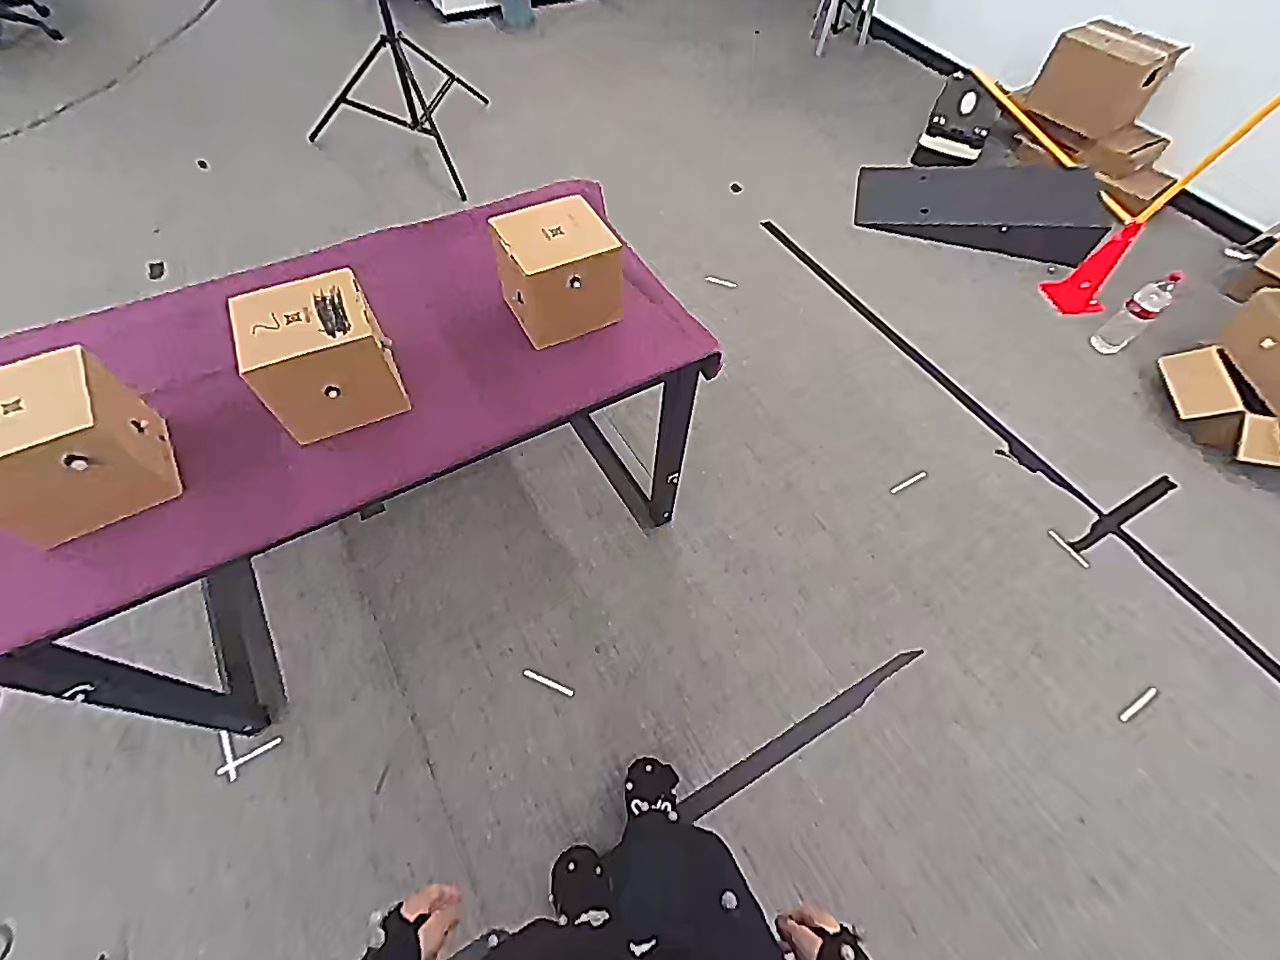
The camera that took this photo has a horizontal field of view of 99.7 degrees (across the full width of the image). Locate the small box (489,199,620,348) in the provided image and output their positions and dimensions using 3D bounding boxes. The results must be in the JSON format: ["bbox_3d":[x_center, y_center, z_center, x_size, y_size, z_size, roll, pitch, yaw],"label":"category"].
[{"bbox_3d":[-0.147,-0.367,0.974,0.179,0.176,0.168,-24,63,-18],"label":"small box"}]

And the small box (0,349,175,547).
[{"bbox_3d":[-0.782,-0.040,0.735,0.179,0.176,0.168,-28,62,-19],"label":"small box"}]
